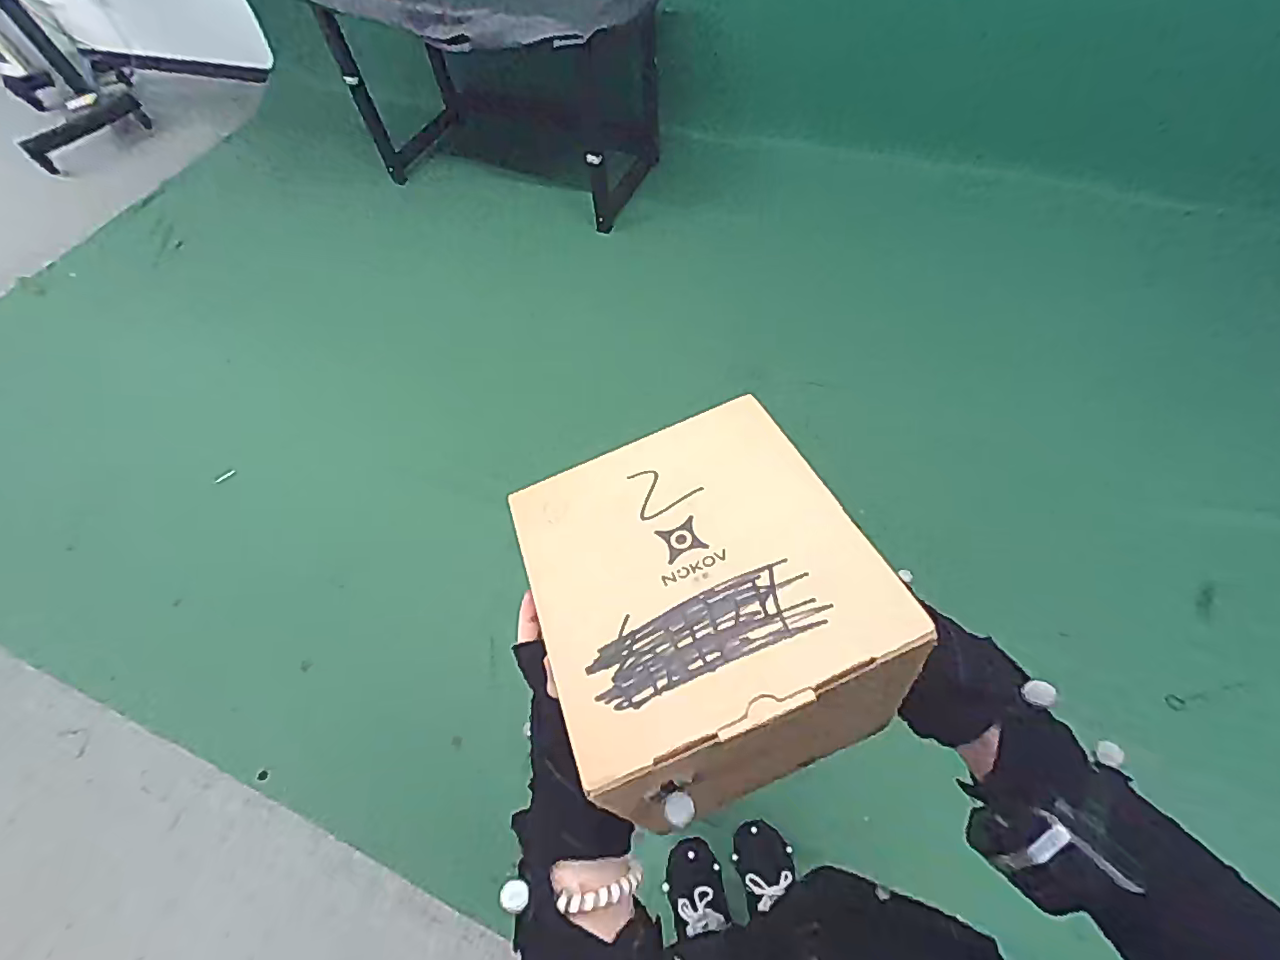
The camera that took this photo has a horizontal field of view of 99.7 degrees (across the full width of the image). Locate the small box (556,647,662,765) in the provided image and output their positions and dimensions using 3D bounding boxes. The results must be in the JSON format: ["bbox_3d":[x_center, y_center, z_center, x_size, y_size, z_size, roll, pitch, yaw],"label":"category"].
[{"bbox_3d":[-0.056,0.475,1.130,0.168,0.176,0.179,14,62,12],"label":"small box"}]
